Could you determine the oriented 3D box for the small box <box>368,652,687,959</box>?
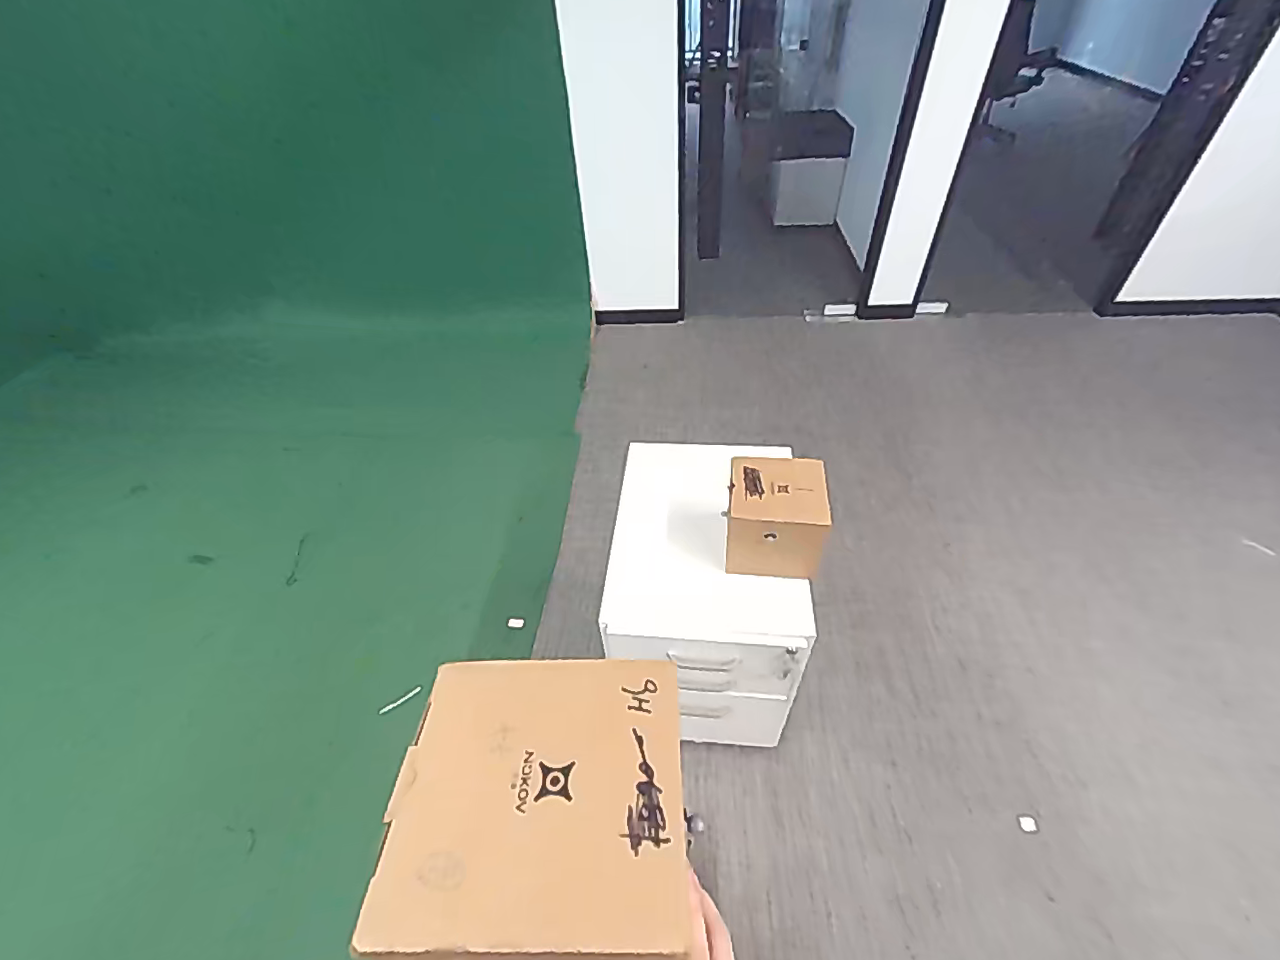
[{"bbox_3d":[-0.056,0.246,0.397,0.179,0.176,0.168,0,40,1],"label":"small box"}]

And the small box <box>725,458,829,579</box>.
[{"bbox_3d":[0.259,0.077,1.056,0.179,0.176,0.168,4,46,8],"label":"small box"}]
